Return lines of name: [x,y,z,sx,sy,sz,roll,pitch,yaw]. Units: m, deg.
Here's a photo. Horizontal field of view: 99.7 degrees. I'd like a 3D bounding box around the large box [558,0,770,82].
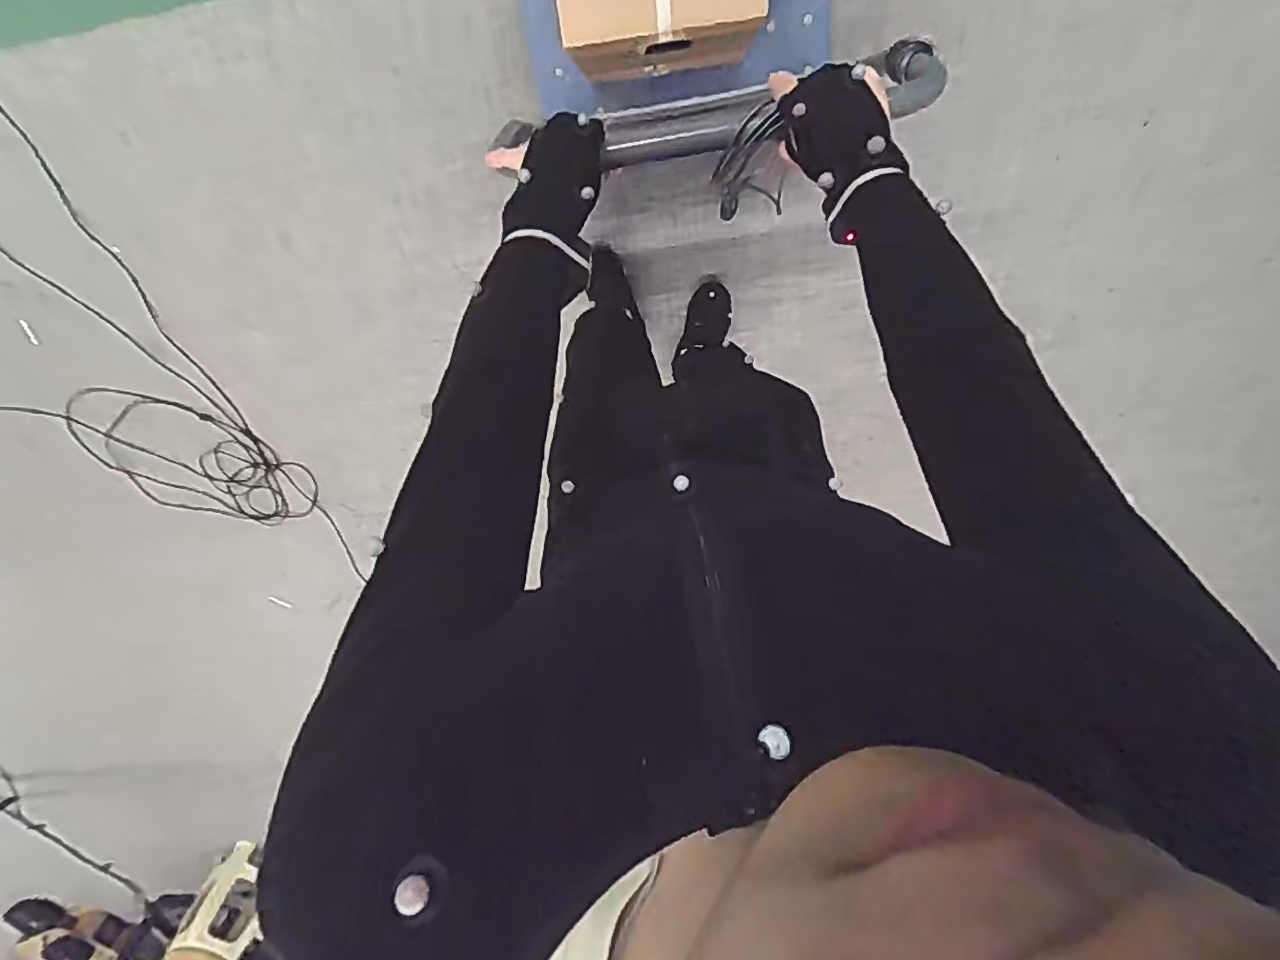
large box: [0.025,-0.914,0.845,0.320,0.320,0.408,-4,117,5]
